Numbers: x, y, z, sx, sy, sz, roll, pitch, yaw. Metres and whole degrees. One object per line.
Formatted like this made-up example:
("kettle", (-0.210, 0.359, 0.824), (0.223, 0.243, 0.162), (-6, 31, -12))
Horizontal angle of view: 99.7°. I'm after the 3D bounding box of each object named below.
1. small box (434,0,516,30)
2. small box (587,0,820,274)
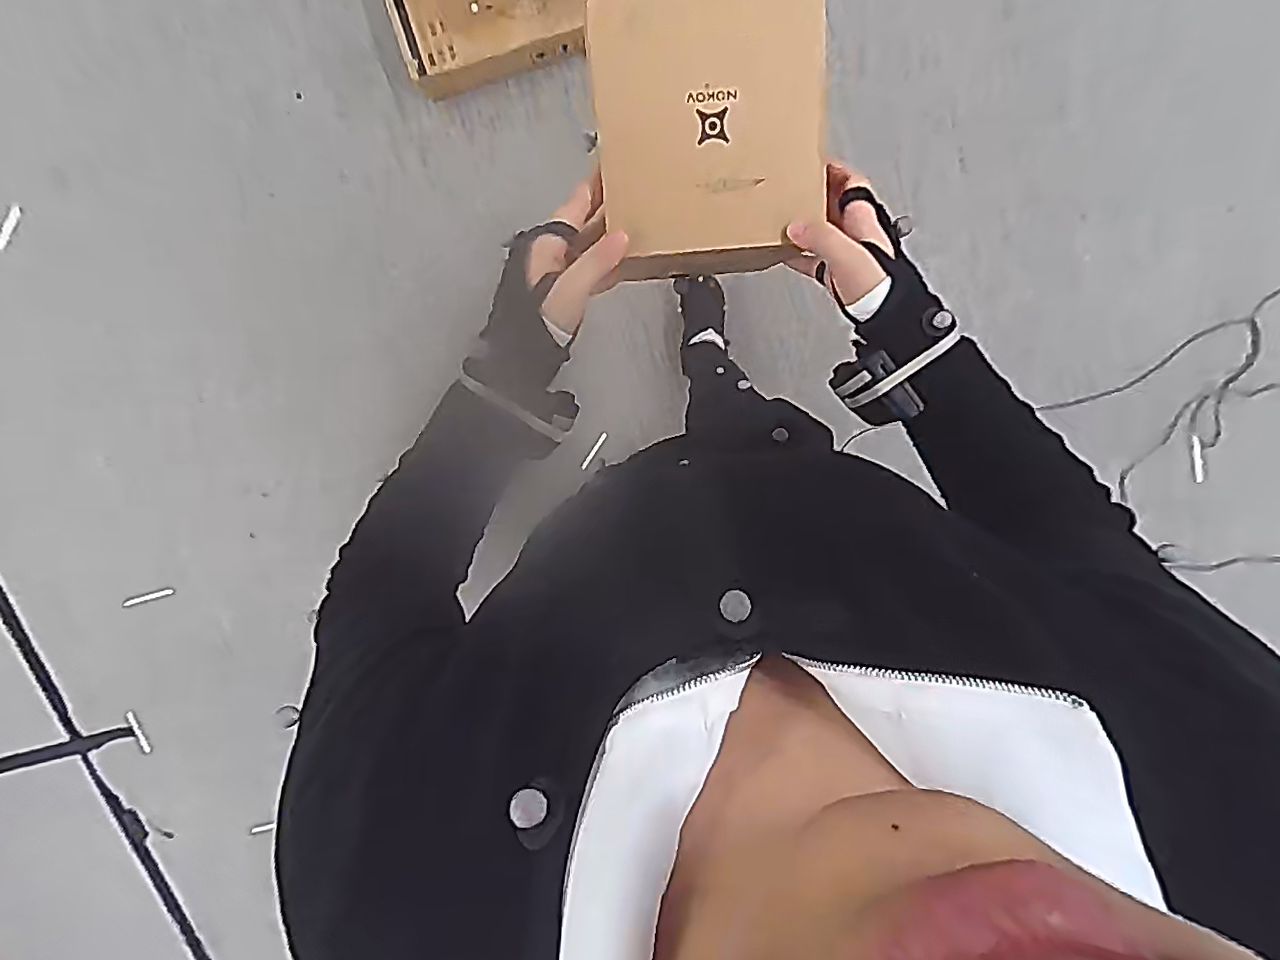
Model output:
("small box", (-0.369, -1.077, 1.093), (0.168, 0.176, 0.179), (-18, 100, 3))
("small box", (0.043, -0.284, 0.464), (0.168, 0.176, 0.179), (-5, 105, -2))
